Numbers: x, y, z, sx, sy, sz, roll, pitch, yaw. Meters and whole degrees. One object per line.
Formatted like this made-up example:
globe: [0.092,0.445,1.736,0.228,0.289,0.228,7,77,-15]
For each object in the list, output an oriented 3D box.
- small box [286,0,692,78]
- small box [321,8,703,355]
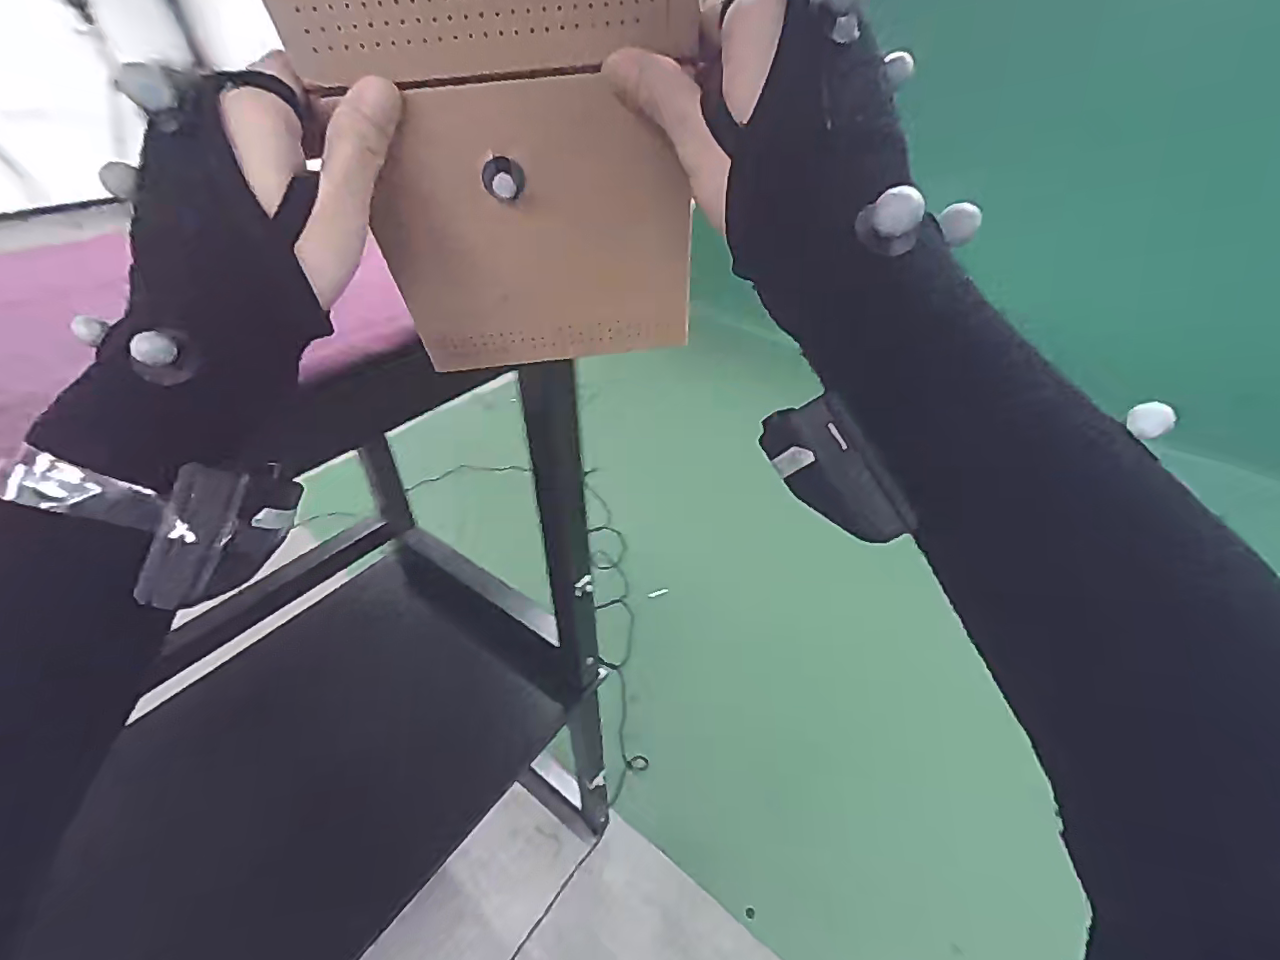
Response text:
small box: [-0.066,-0.292,0.216,0.179,0.176,0.168,-7,54,-1]
small box: [-0.059,-0.198,0.350,0.179,0.176,0.168,-6,55,-1]
